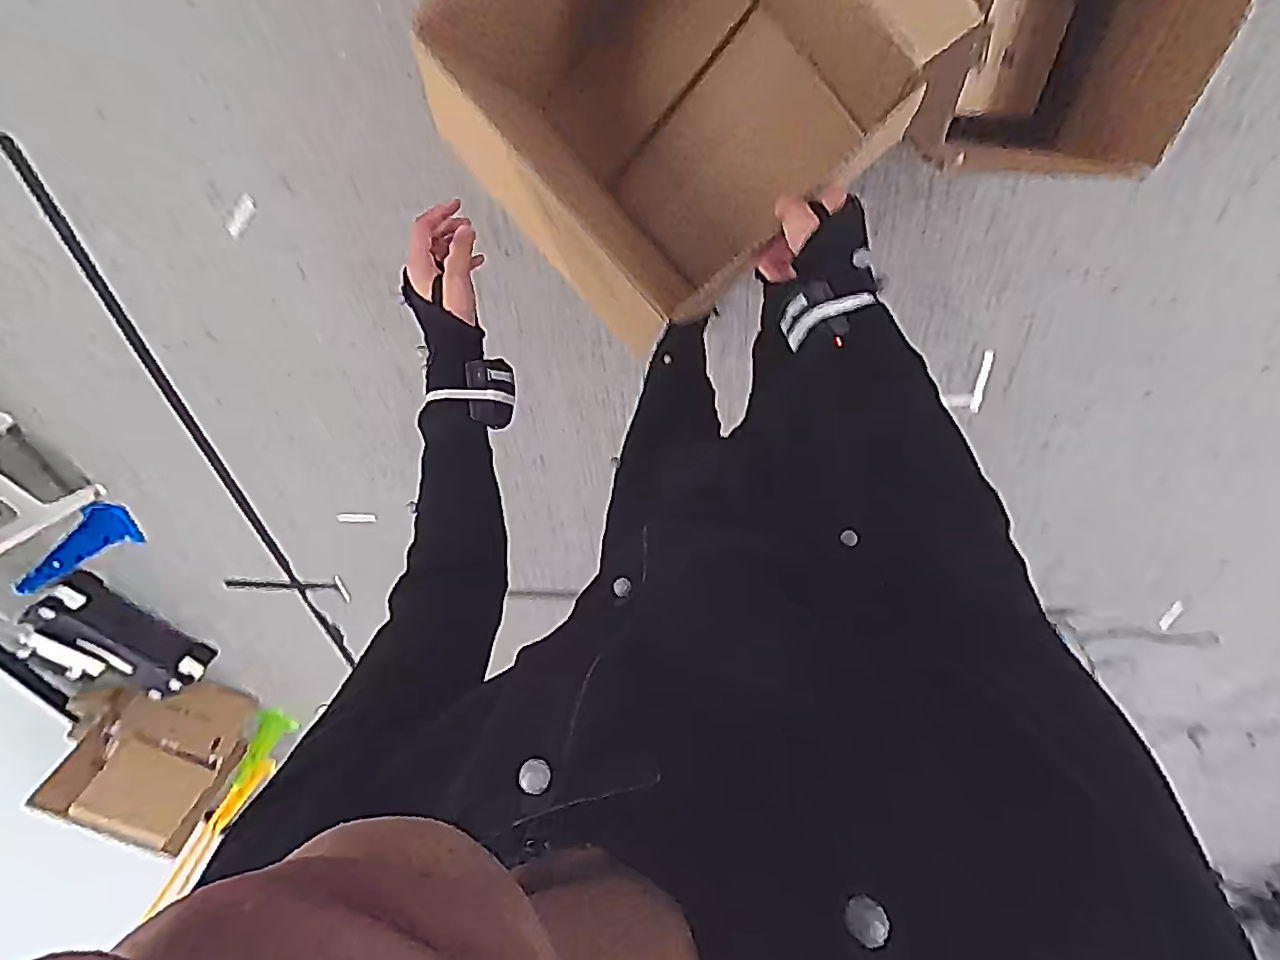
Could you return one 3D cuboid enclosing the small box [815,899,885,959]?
[{"bbox_3d":[0.696,1.529,1.804,0.179,0.176,0.168,-1,126,7],"label":"small box"}]
